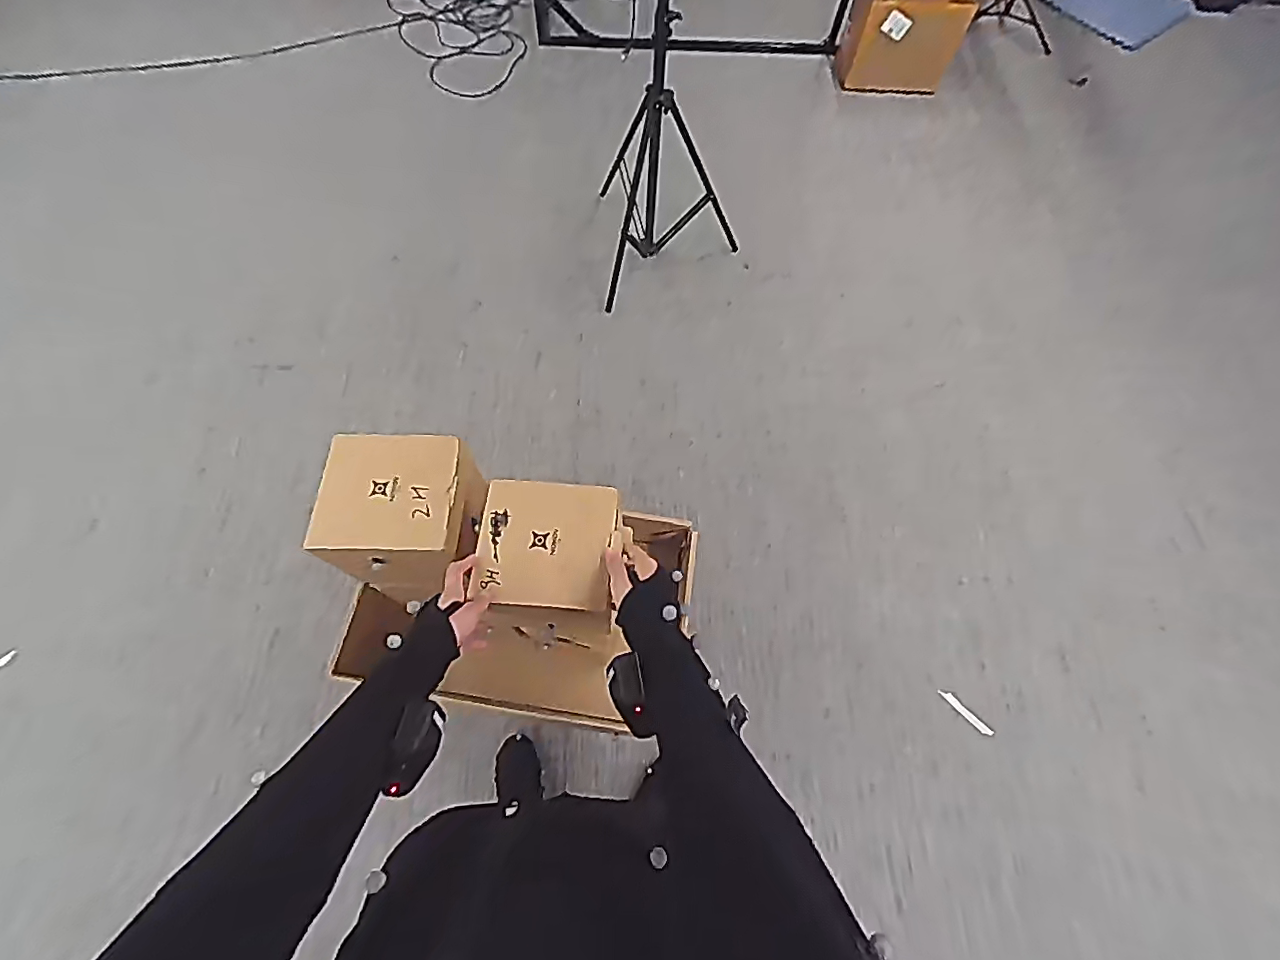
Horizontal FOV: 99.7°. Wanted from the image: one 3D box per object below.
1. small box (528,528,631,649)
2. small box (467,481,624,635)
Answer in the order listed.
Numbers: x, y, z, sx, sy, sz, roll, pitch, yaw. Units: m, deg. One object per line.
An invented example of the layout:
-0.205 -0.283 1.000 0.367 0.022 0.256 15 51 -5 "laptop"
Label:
-0.110 0.174 0.909 0.168 0.176 0.179 12 65 5 "small box"
-0.118 0.117 0.755 0.179 0.176 0.168 5 65 1 "small box"
